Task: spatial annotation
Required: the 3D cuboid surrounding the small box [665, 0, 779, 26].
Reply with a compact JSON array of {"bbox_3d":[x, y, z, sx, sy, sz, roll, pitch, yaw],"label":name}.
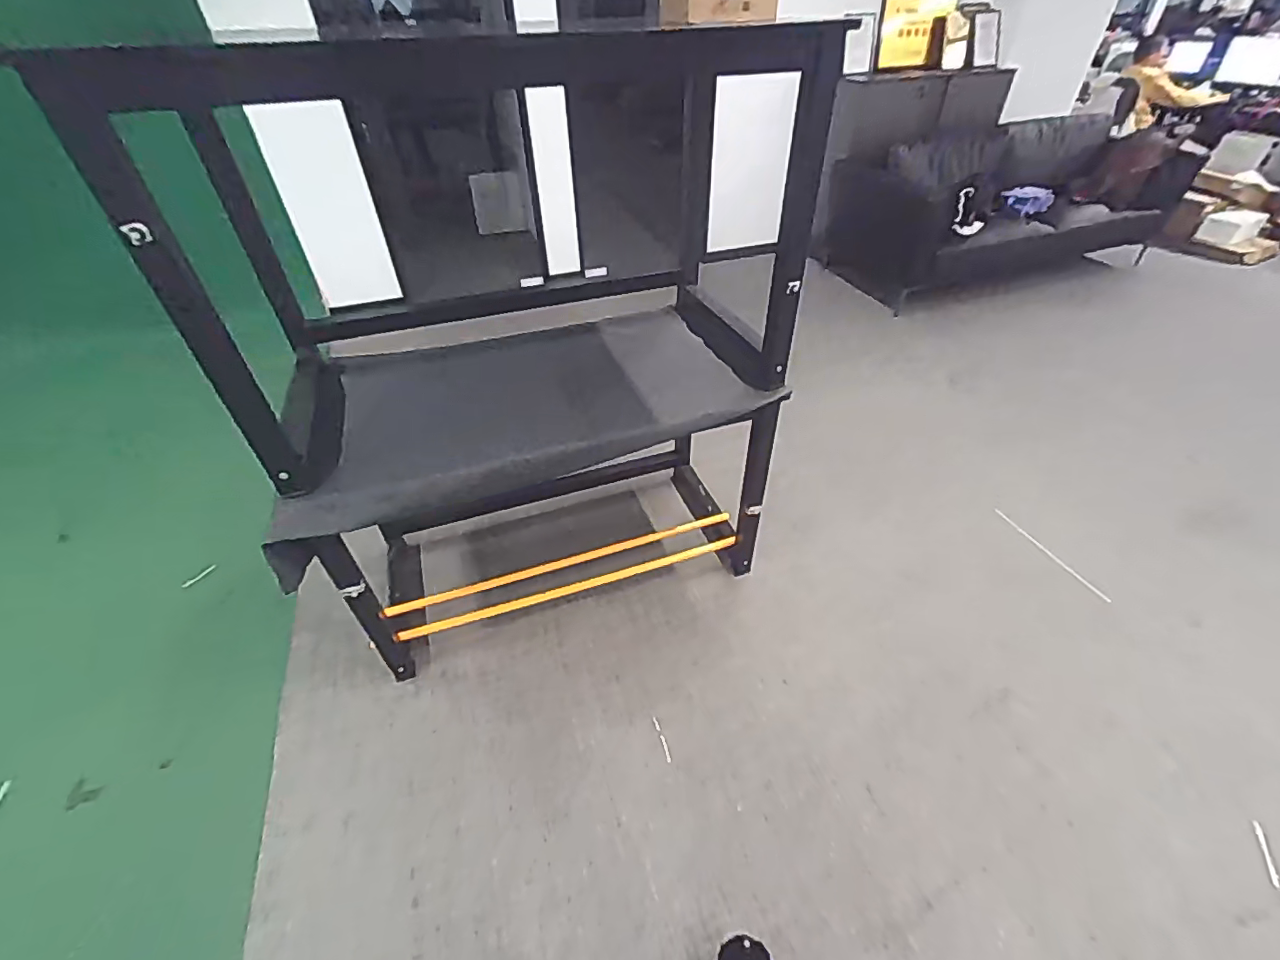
[{"bbox_3d":[0.141,-0.903,0.940,0.168,0.176,0.179,-11,43,-10],"label":"small box"}]
